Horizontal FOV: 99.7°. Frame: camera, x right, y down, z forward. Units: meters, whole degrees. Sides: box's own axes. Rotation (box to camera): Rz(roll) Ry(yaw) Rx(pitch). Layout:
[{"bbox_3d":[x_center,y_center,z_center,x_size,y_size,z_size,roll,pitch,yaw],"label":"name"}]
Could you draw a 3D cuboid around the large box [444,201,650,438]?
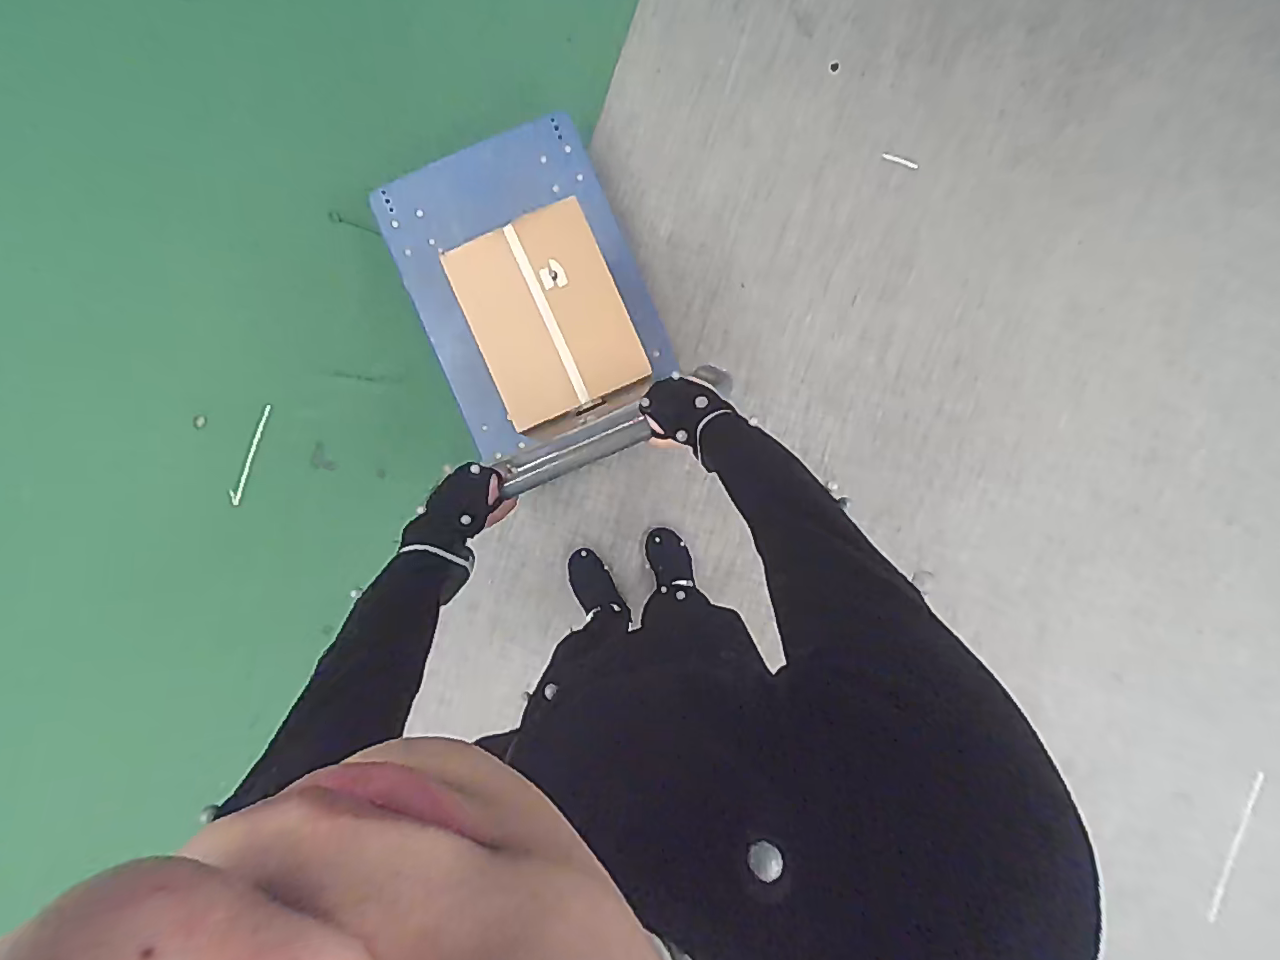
[{"bbox_3d":[-0.195,-0.349,1.288,0.320,0.320,0.408,-24,91,-1],"label":"large box"}]
